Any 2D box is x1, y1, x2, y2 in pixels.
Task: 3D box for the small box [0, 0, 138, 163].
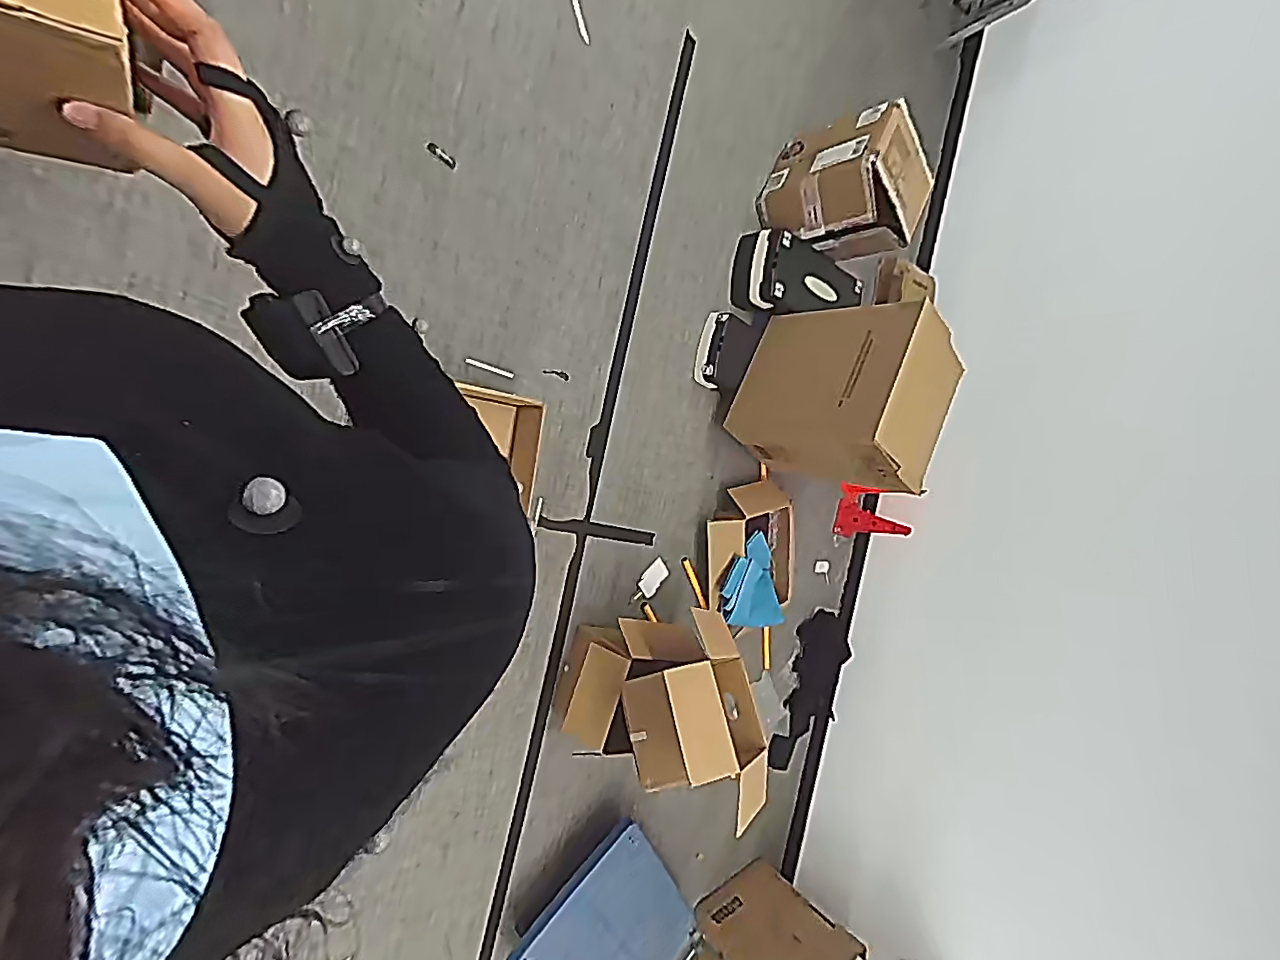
[{"bbox_3d":[-0.343,-0.278,0.238,0.168,0.176,0.179,-8,101,-41],"label":"small box"}]
